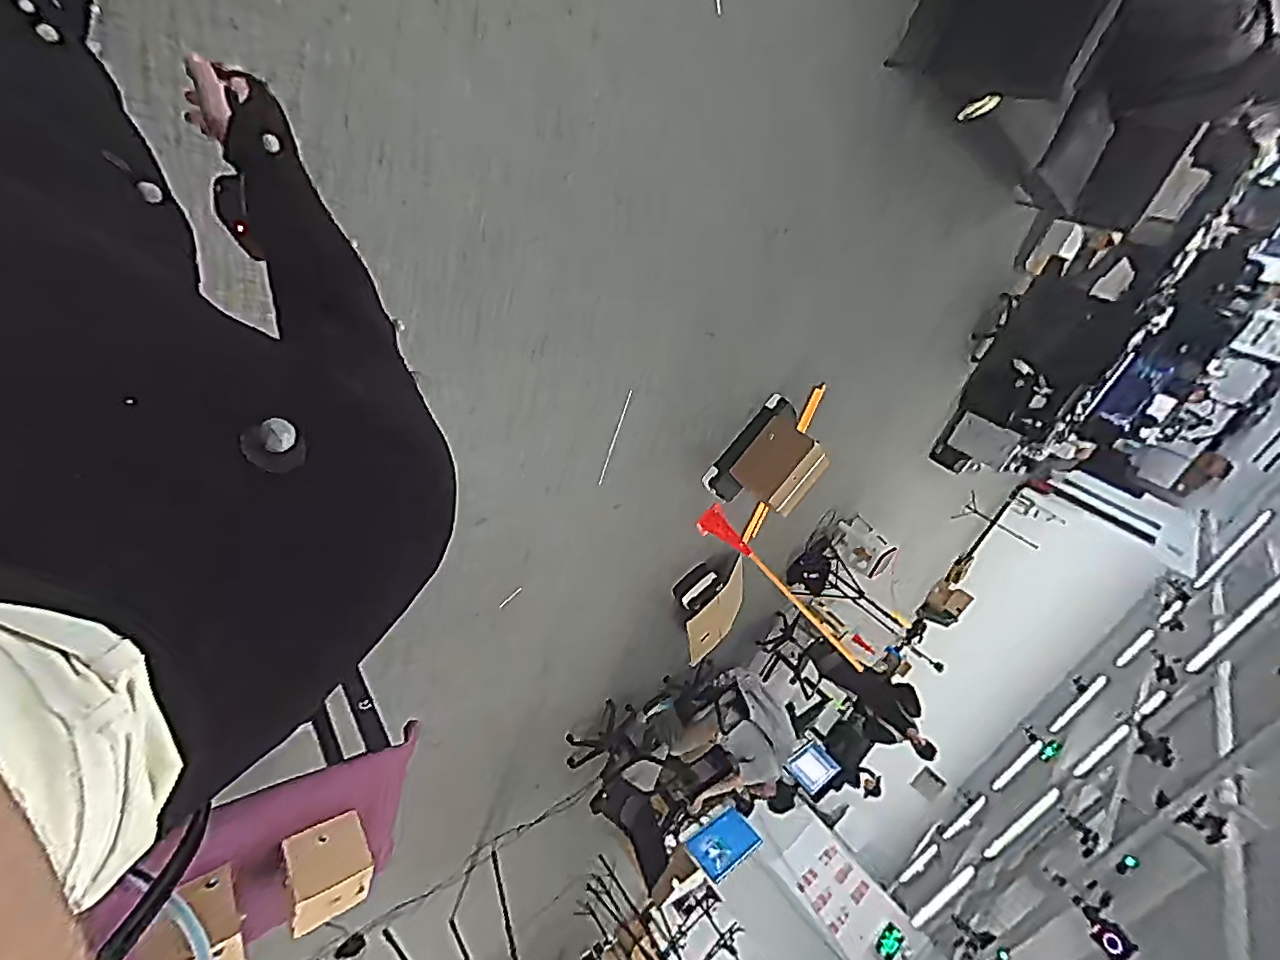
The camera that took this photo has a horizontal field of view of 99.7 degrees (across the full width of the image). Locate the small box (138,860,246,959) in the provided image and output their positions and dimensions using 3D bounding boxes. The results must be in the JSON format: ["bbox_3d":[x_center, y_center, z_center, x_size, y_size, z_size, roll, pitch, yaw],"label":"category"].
[{"bbox_3d":[-1.020,1.019,1.234,0.168,0.176,0.179,-10,130,-42],"label":"small box"}]

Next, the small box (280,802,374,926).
[{"bbox_3d":[-0.828,0.999,1.420,0.179,0.176,0.168,-4,126,-44],"label":"small box"}]
